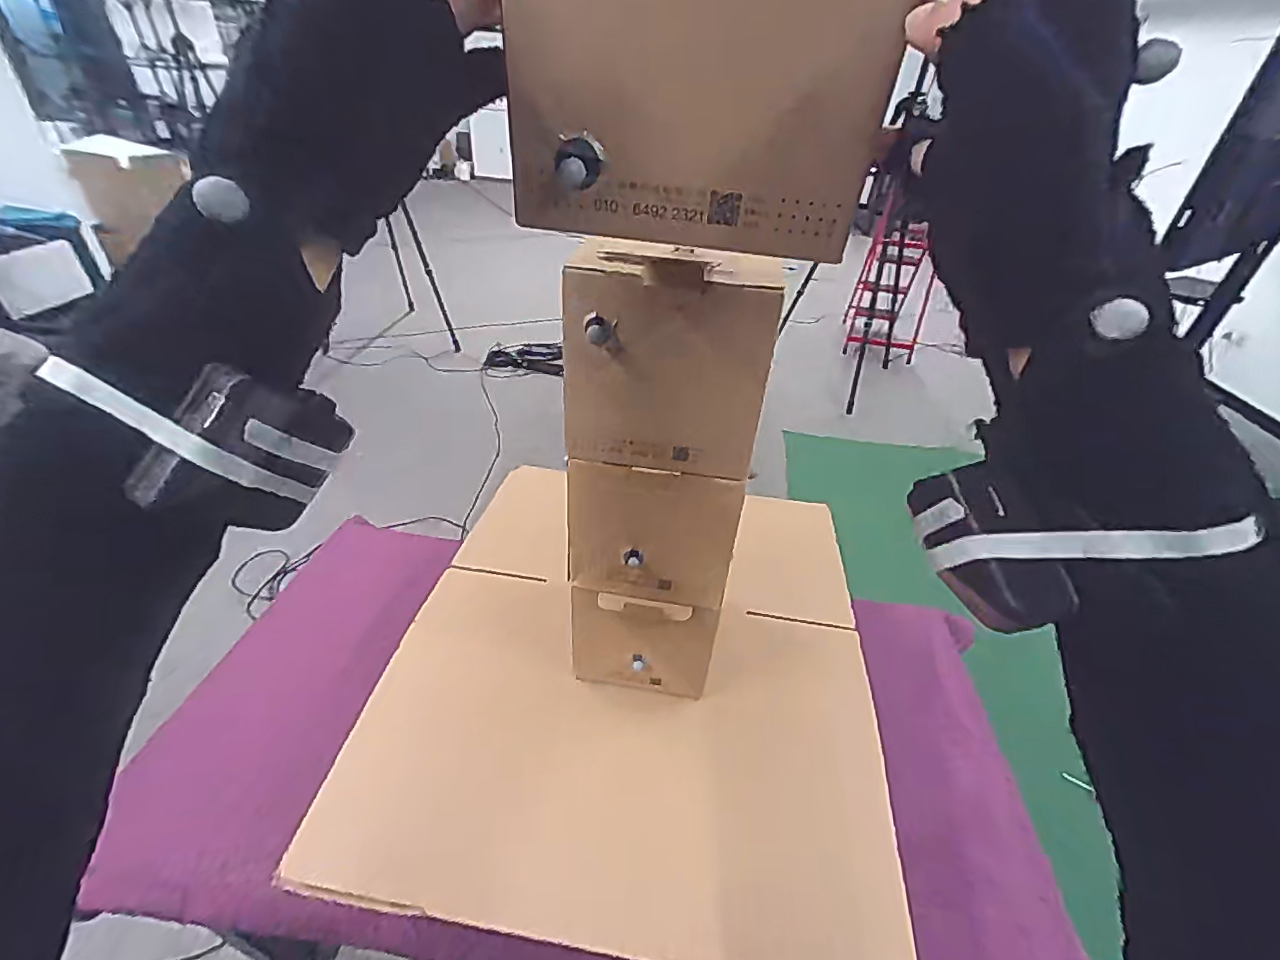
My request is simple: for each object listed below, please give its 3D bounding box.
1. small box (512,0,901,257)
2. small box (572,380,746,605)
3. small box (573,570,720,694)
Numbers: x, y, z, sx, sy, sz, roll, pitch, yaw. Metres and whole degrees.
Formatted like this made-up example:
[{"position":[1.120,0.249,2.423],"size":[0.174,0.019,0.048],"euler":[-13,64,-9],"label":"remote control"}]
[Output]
[{"position":[0.036,-0.235,0.293],"size":[0.168,0.176,0.179],"euler":[8,40,3],"label":"small box"},{"position":[0.022,0.009,0.606],"size":[0.168,0.176,0.179],"euler":[8,36,5],"label":"small box"},{"position":[0.013,0.142,0.700],"size":[0.168,0.176,0.179],"euler":[7,36,5],"label":"small box"}]
